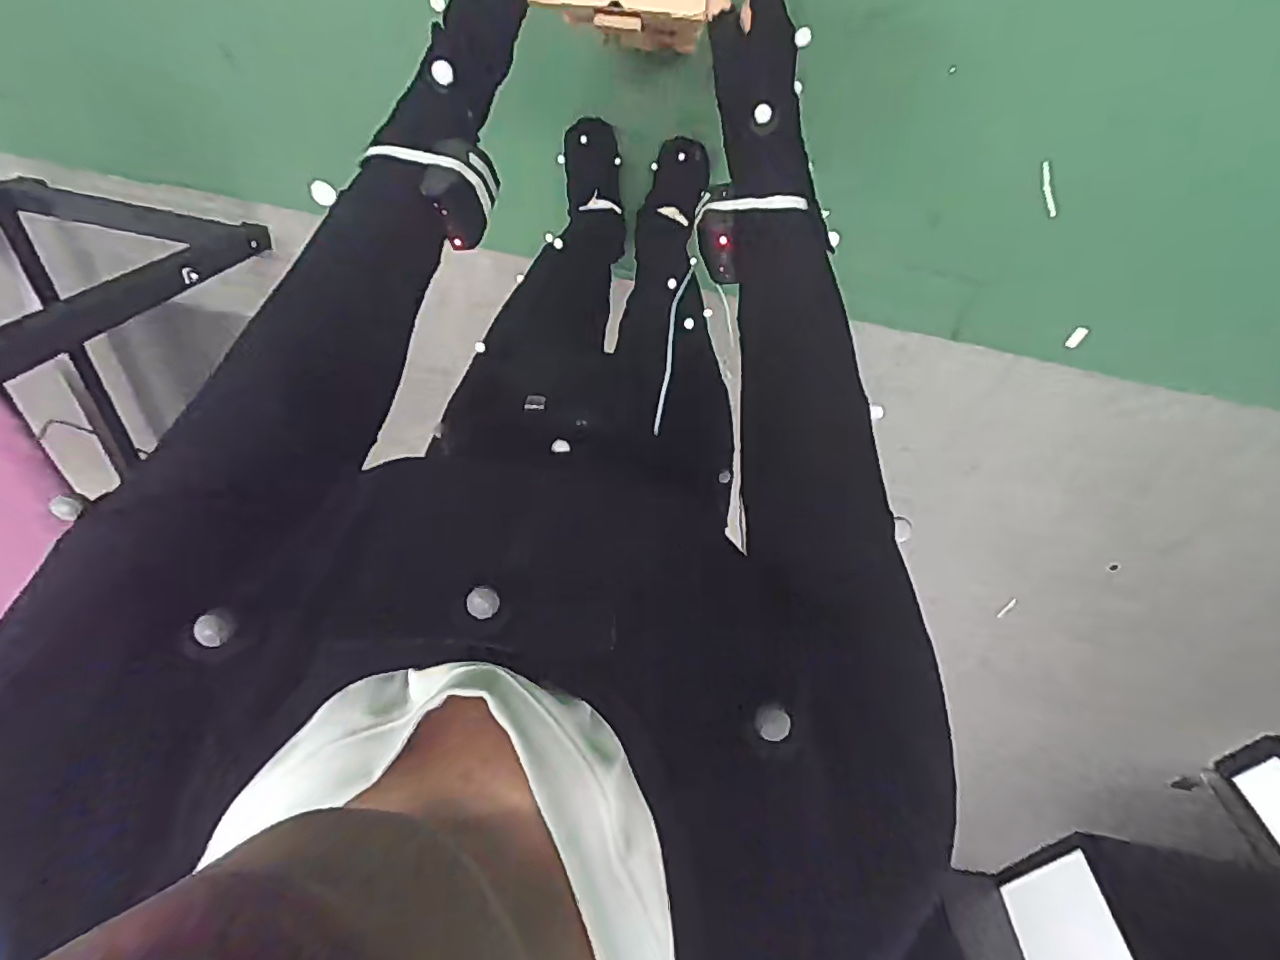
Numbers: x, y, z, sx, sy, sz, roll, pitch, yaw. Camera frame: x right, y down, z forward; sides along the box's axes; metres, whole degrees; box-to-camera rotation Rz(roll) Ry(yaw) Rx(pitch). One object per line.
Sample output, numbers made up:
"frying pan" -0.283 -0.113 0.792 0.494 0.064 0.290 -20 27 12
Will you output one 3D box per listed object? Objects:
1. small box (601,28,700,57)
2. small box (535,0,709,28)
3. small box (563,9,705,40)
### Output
"small box" 0.035 -0.834 0.899 0.168 0.176 0.179 12 130 -3
"small box" -0.007 -0.544 0.501 0.168 0.176 0.179 7 129 1
"small box" 0.008 -0.638 0.636 0.168 0.176 0.179 7 128 0
